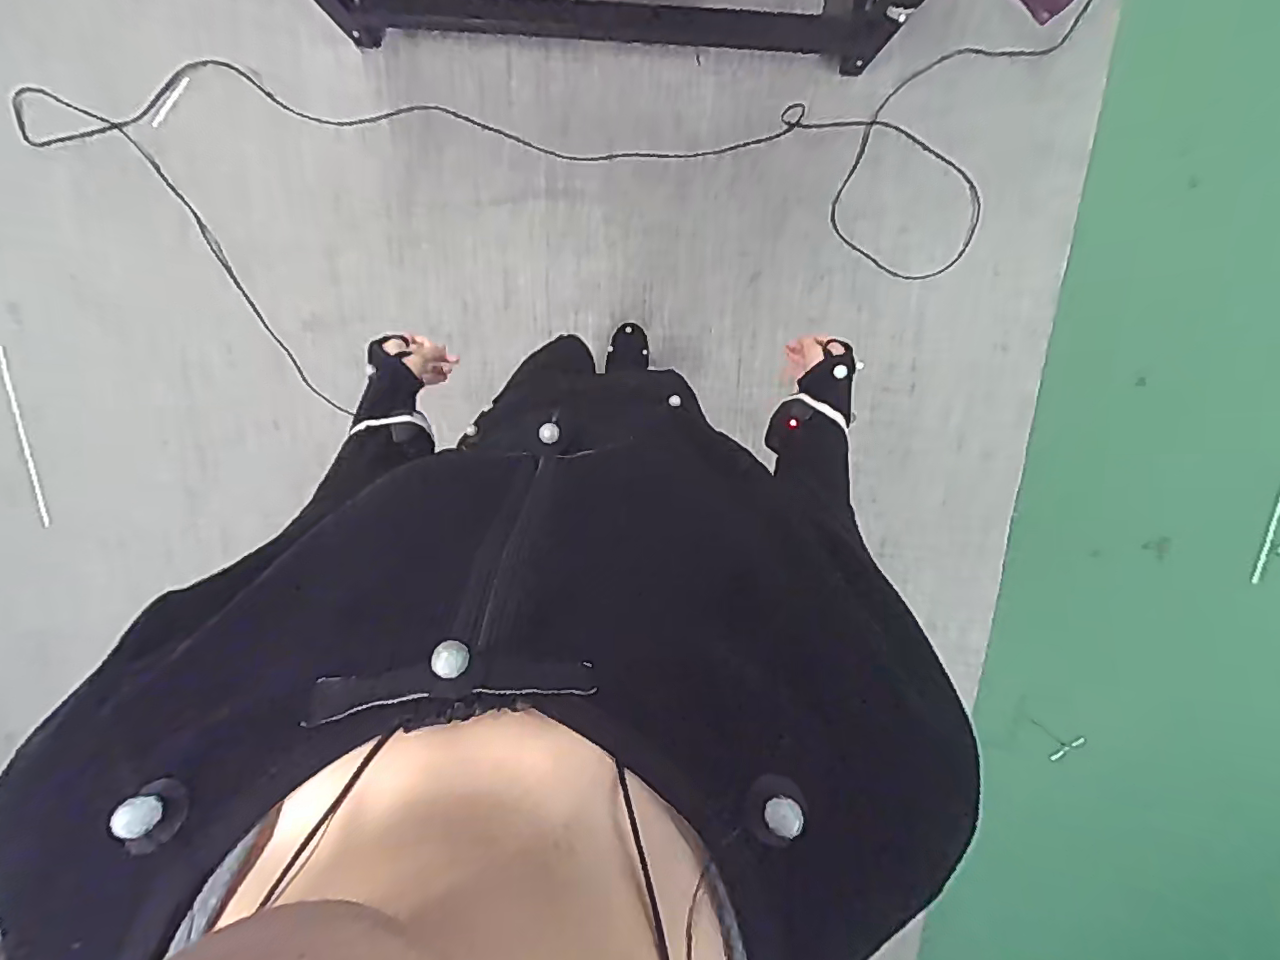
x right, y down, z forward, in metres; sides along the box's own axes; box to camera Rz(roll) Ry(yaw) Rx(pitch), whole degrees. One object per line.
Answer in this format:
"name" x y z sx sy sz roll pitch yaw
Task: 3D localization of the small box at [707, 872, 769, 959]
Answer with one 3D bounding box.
"small box" 0.310 1.407 1.748 0.168 0.176 0.179 1 104 0
